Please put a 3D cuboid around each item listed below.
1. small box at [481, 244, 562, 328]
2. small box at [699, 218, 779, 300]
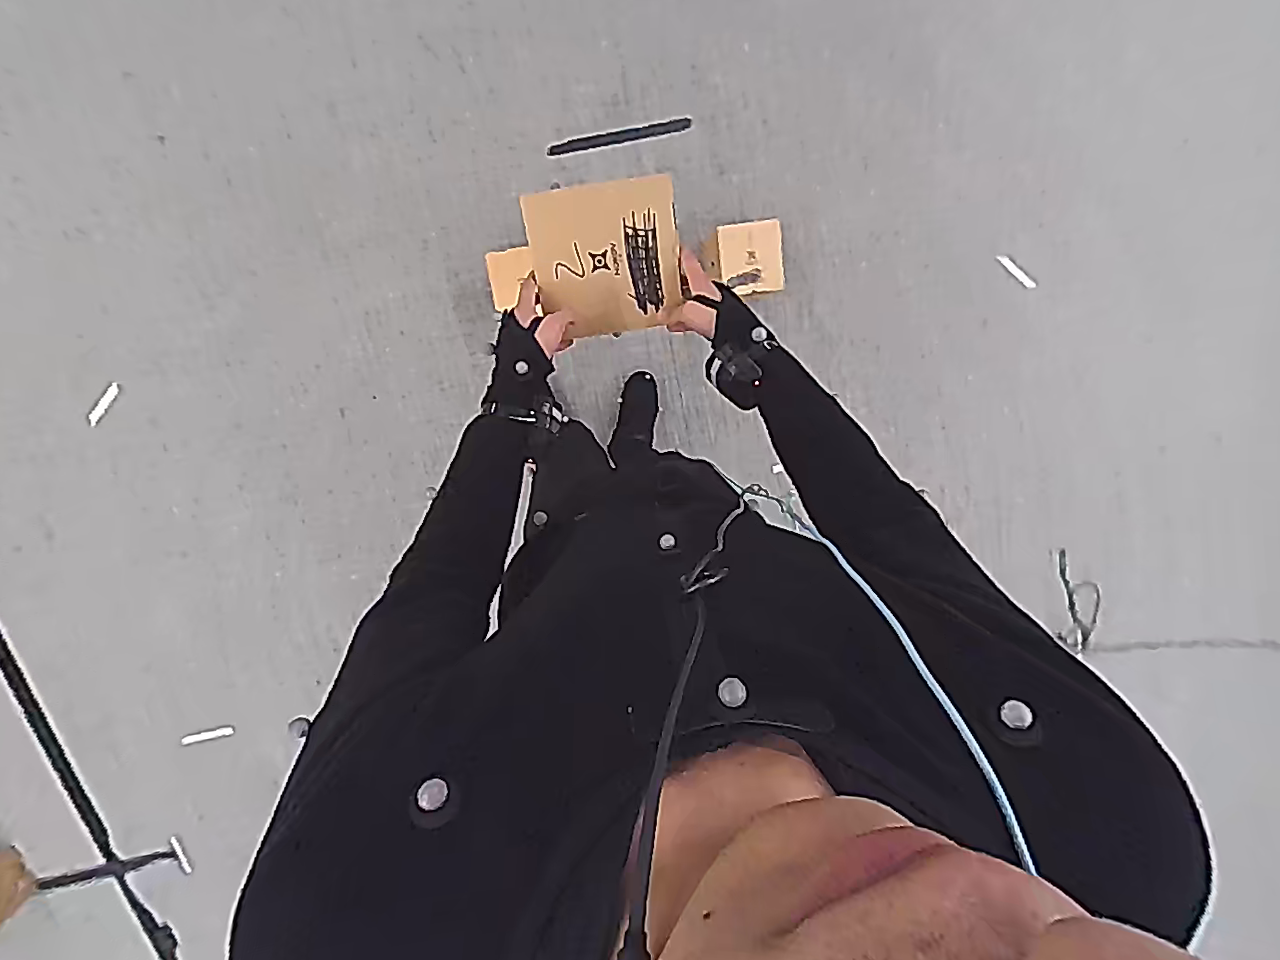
[{"bbox_3d":[-0.302,-0.499,1.412,0.168,0.176,0.179,-11,103,-4],"label":"small box"},{"bbox_3d":[0.264,-0.587,1.457,0.168,0.176,0.179,-9,103,-5],"label":"small box"}]
